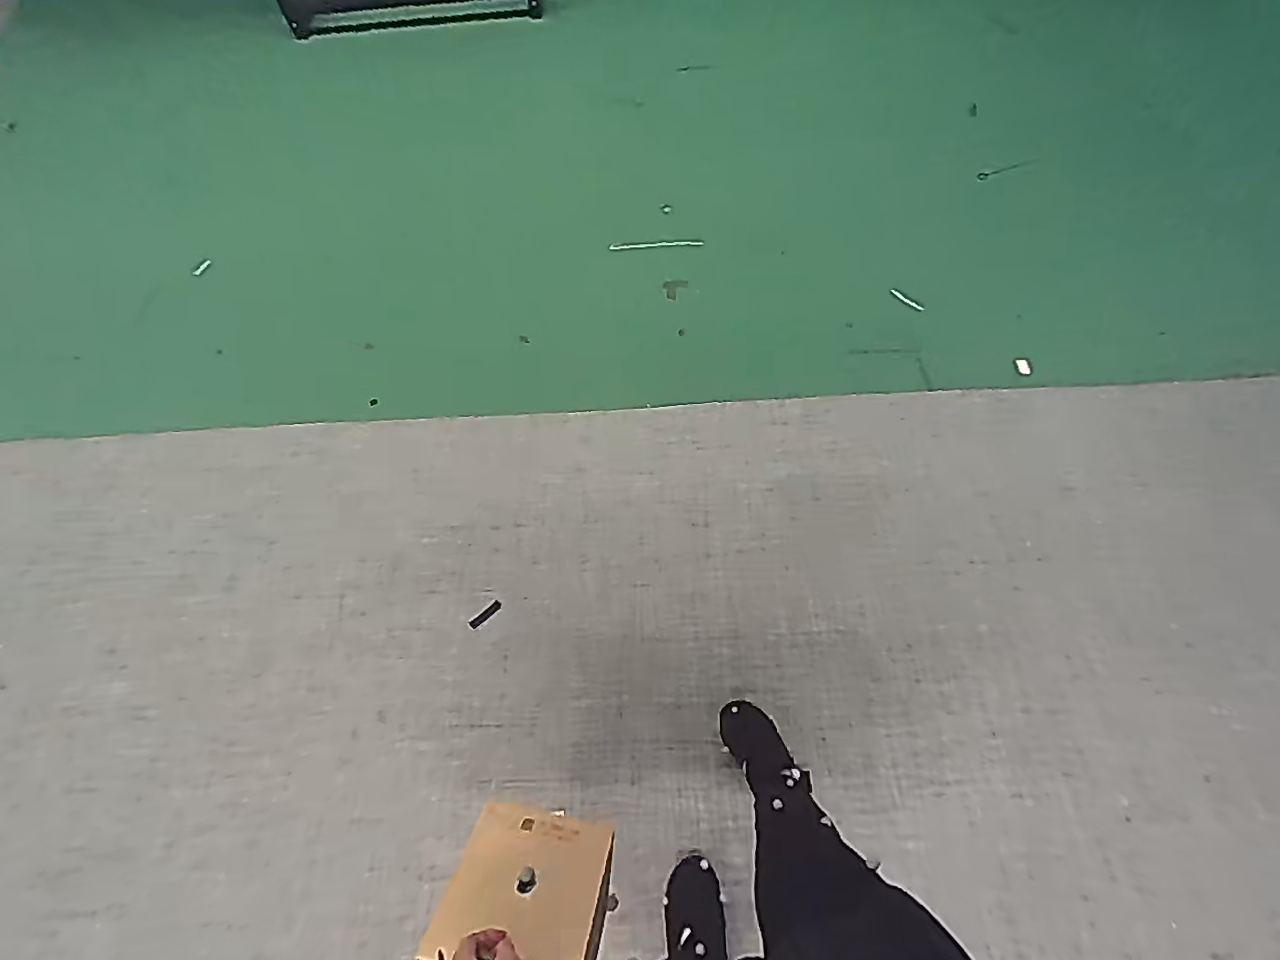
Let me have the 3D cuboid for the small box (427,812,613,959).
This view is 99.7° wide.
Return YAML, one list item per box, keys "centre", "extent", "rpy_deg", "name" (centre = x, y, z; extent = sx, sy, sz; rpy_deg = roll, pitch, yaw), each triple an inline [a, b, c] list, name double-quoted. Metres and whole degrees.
- centre: [-0.128, 0.527, 0.629]
  extent: [0.168, 0.179, 0.176]
  rpy_deg: [7, 26, 7]
  name: "small box"
